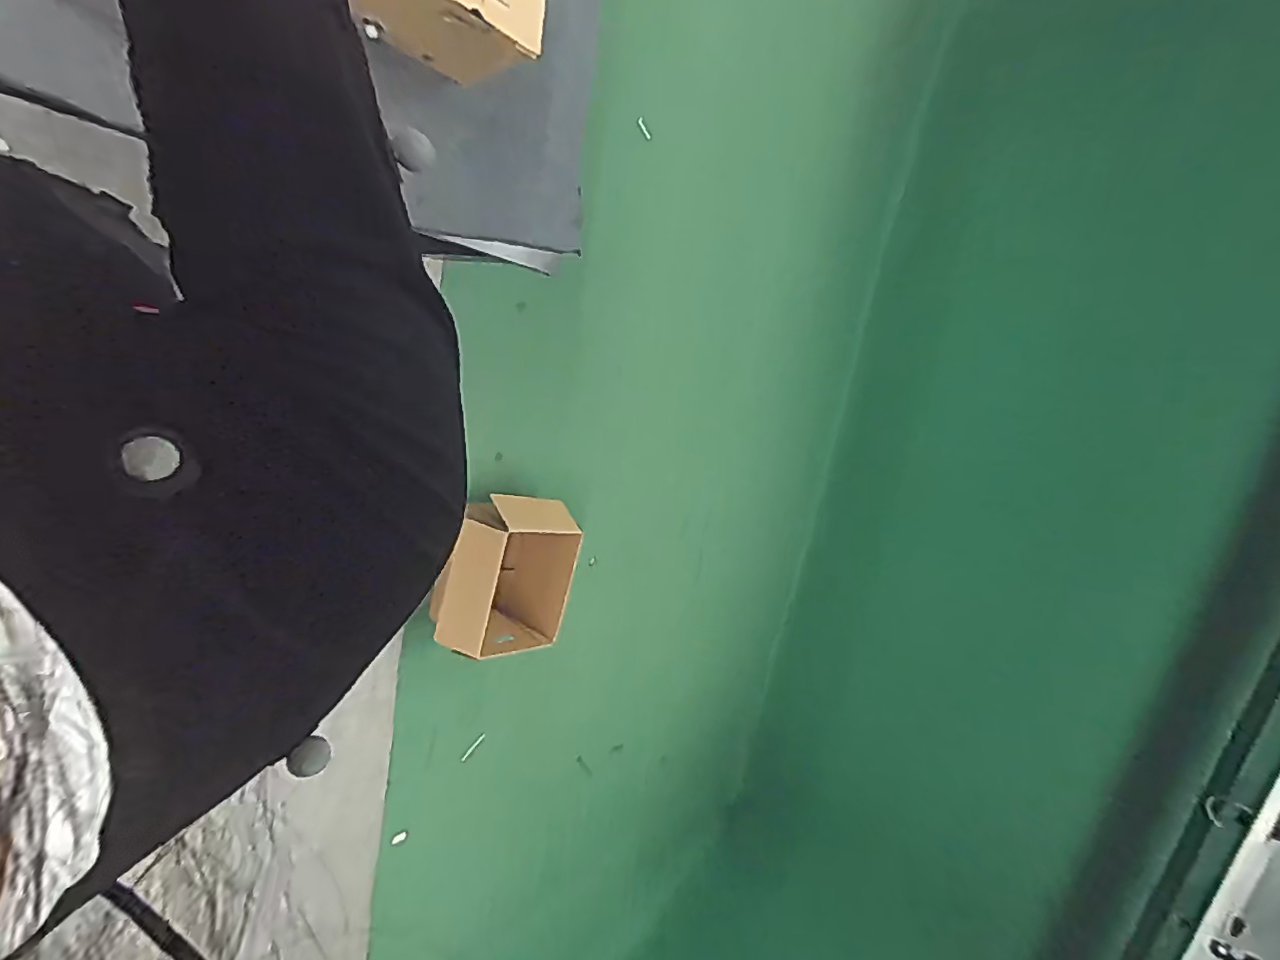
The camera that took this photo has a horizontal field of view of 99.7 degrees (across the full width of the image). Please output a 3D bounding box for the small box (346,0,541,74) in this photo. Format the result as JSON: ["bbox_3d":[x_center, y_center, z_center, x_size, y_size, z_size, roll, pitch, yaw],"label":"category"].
[{"bbox_3d":[-0.221,-0.593,0.599,0.168,0.176,0.179,-5,110,-50],"label":"small box"}]
